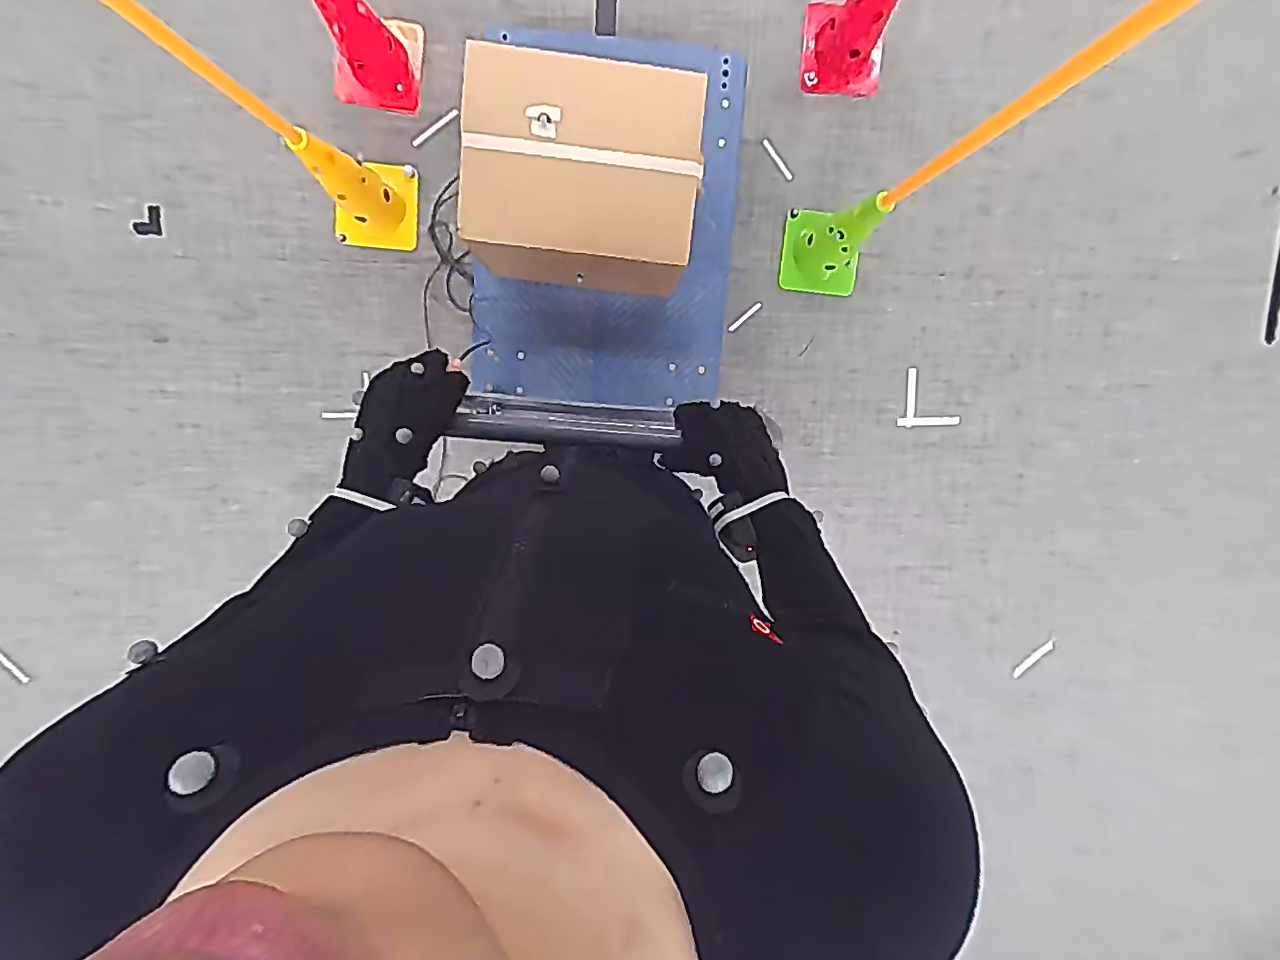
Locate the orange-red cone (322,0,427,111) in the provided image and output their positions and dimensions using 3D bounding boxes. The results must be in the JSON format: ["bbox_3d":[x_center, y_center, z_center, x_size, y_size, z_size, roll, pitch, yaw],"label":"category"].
[{"bbox_3d":[-0.617,-0.994,1.142,0.198,0.360,0.199,8,96,-4],"label":"orange-red cone"}]

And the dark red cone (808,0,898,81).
[{"bbox_3d":[0.516,-1.055,1.147,0.201,0.394,0.202,1,99,-4],"label":"dark red cone"}]

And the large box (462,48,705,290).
[{"bbox_3d":[-0.102,-0.574,1.071,0.408,0.320,0.320,6,98,-2],"label":"large box"}]

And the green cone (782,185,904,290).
[{"bbox_3d":[0.483,-0.579,1.233,0.202,0.368,0.200,5,98,-4],"label":"green cone"}]
